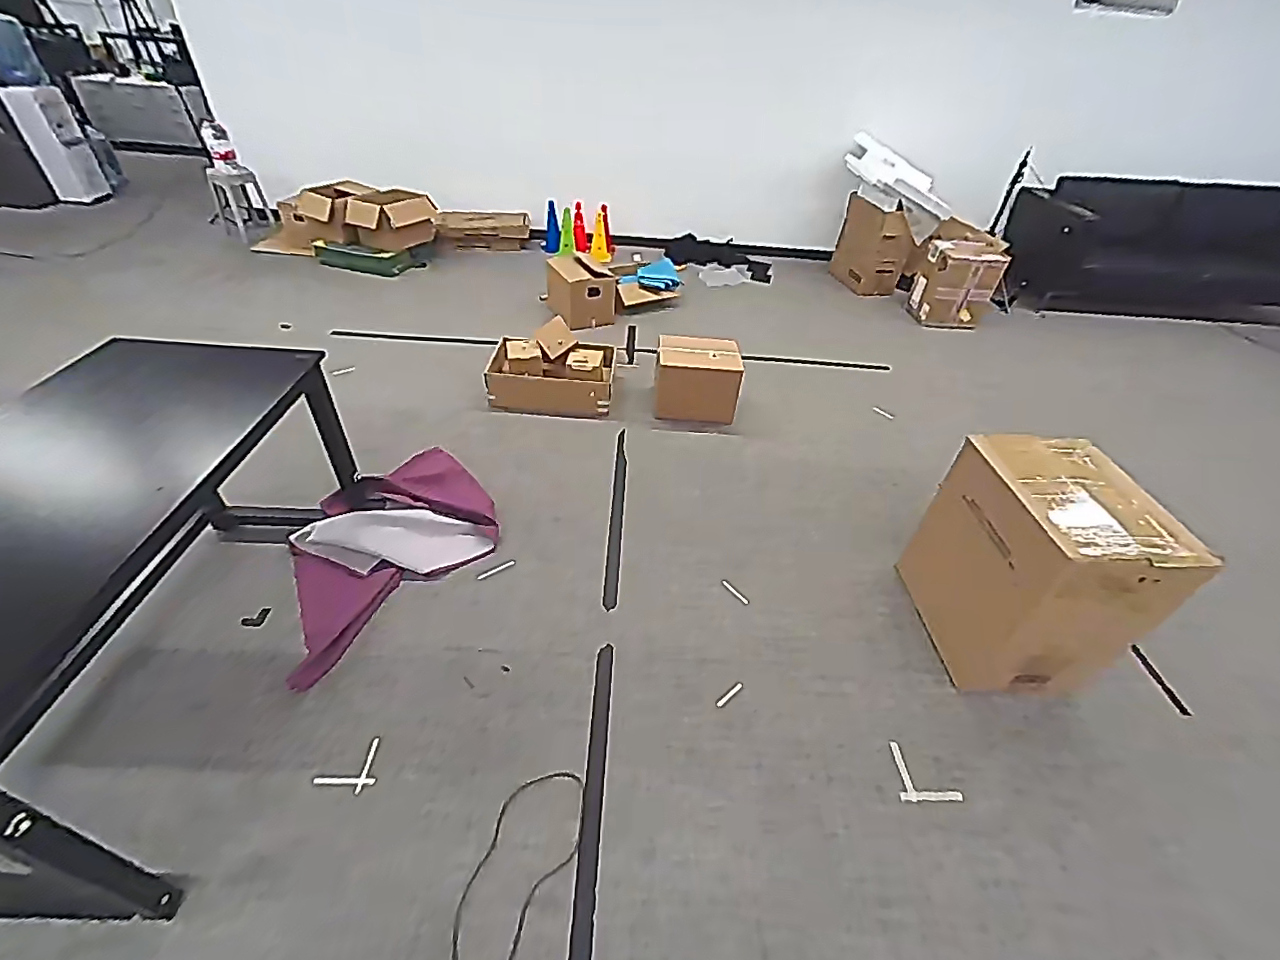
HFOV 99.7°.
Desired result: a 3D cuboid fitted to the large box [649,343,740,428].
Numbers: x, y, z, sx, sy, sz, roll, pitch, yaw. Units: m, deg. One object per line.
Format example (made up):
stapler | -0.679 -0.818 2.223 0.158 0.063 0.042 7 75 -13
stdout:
large box | 0.264 -0.483 2.772 0.408 0.320 0.320 4 41 -4
